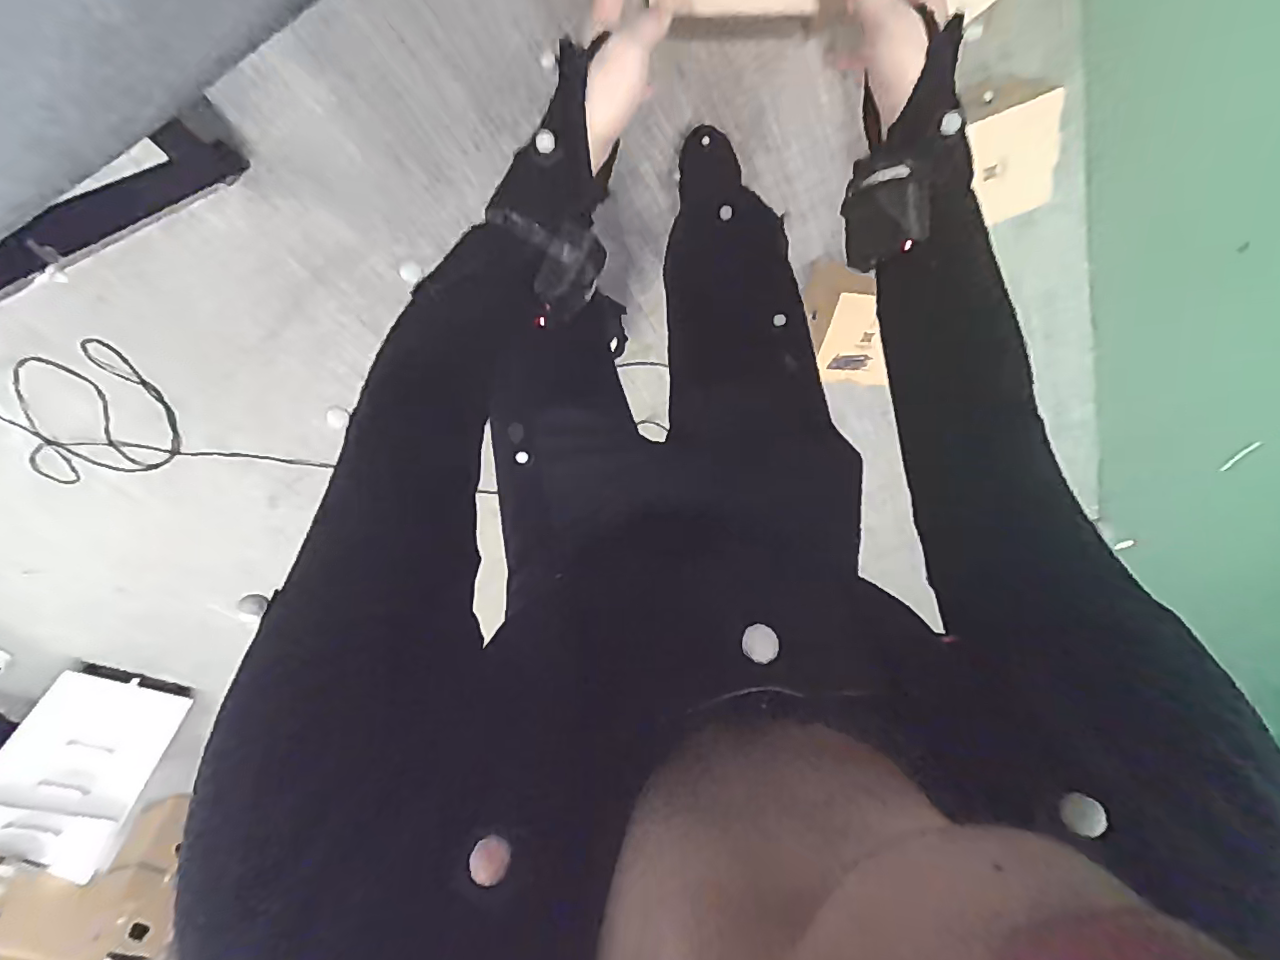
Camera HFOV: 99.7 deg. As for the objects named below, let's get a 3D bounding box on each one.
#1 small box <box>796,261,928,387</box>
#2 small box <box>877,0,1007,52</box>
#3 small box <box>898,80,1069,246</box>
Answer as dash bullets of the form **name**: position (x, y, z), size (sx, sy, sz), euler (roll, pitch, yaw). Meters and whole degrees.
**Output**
- **small box**: position (0.425, -0.311, 1.075), size (0.168, 0.176, 0.179), euler (5, 130, -6)
- **small box**: position (0.412, -0.717, 0.710), size (0.168, 0.176, 0.179), euler (-31, 126, 23)
- **small box**: position (0.549, -0.523, 0.888), size (0.179, 0.176, 0.168), euler (-17, 131, 13)
